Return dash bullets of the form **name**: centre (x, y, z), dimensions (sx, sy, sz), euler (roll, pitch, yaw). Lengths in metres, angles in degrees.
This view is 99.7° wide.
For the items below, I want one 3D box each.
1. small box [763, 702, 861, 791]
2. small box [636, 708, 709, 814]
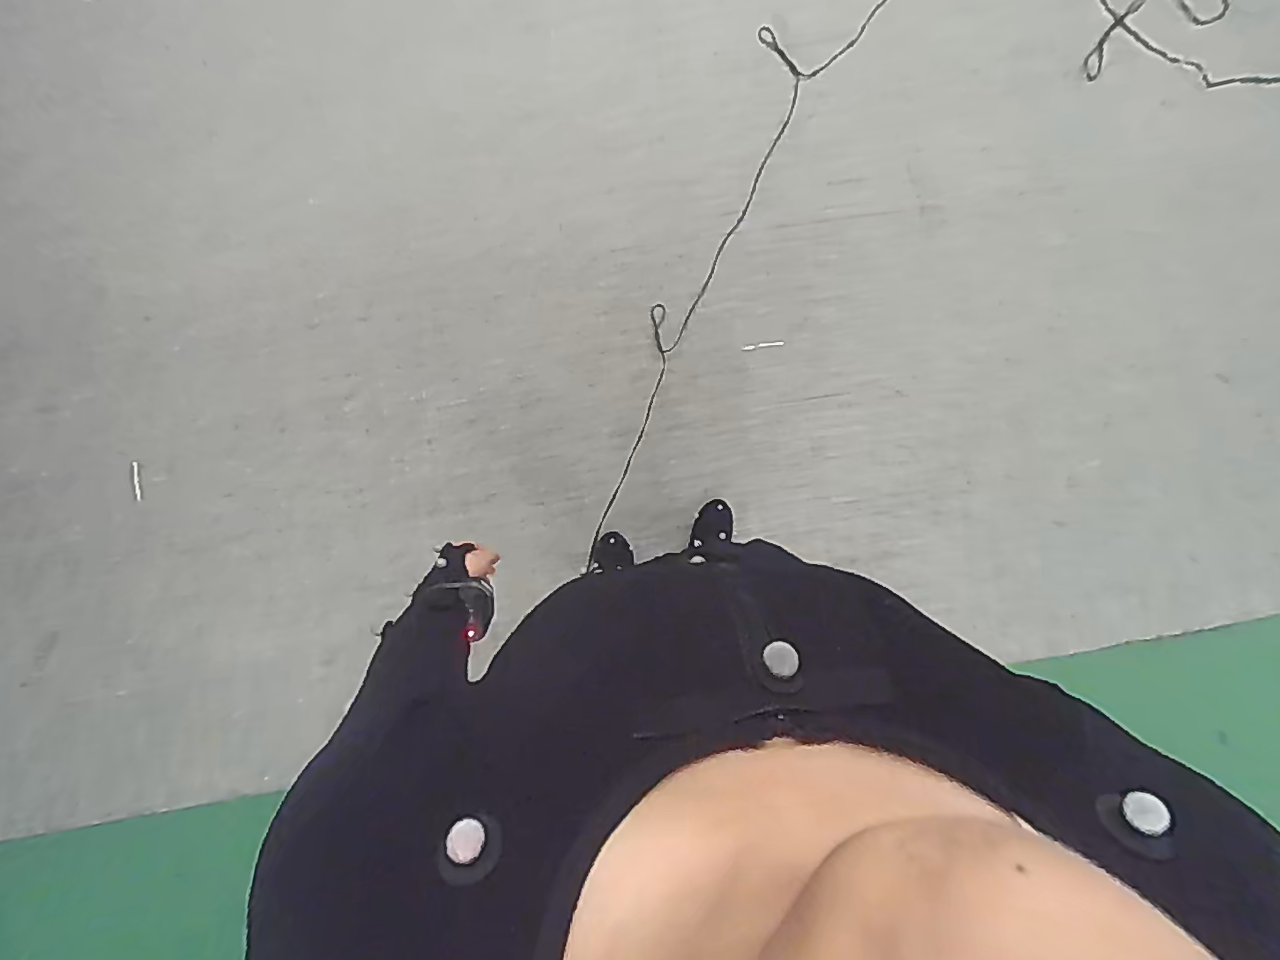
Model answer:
- **small box**: centre (0.374, 0.596, 1.171), dimensions (0.168, 0.176, 0.179), euler (-8, 87, -1)
- **small box**: centre (0.079, 0.679, 1.323), dimensions (0.168, 0.176, 0.179), euler (-3, 86, -3)
